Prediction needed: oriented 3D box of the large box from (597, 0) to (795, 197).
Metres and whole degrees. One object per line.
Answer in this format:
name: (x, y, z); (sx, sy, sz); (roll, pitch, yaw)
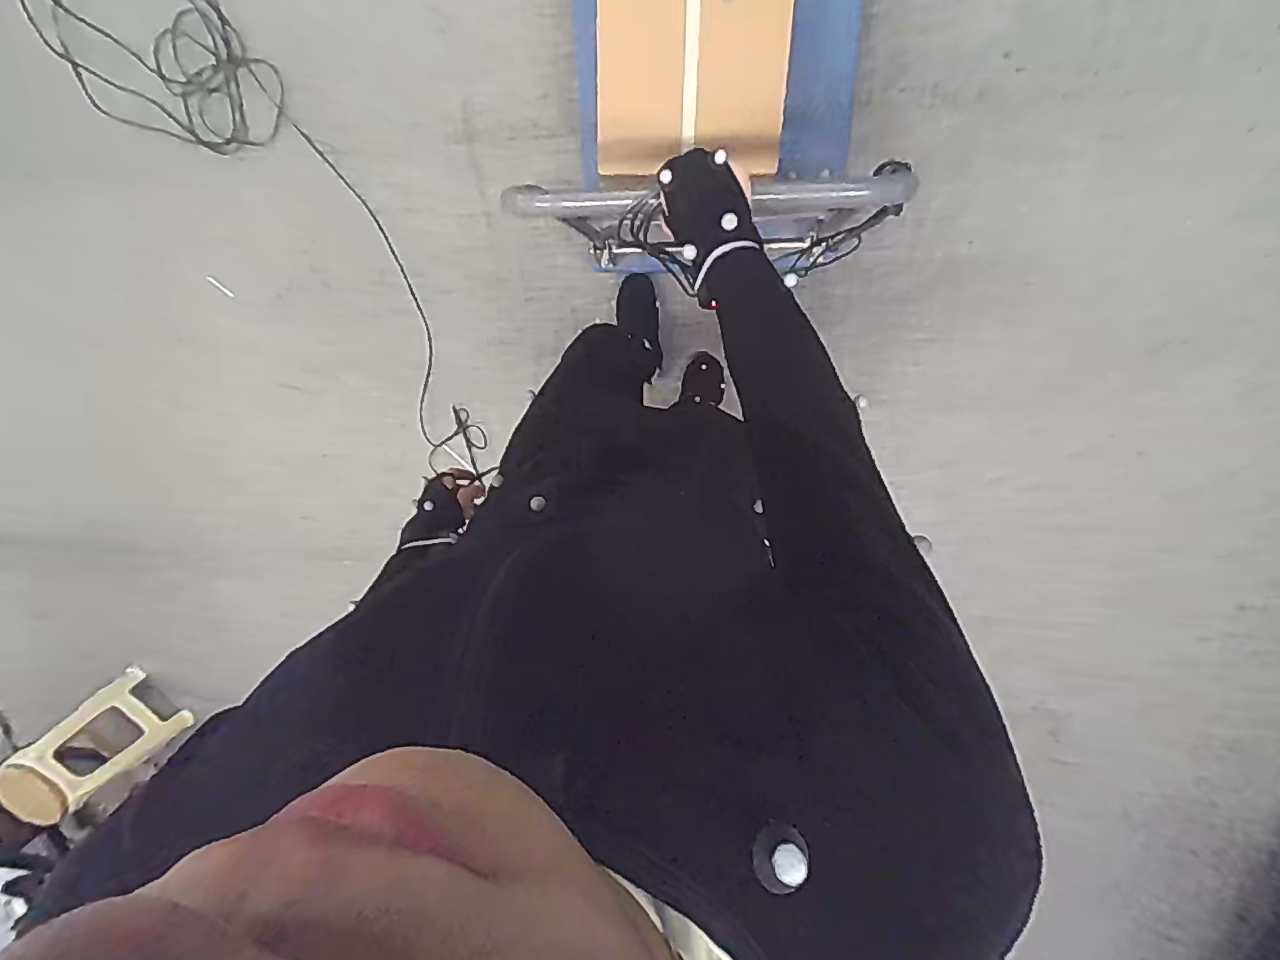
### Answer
large box: (0.106, -0.765, 0.991); (0.320, 0.320, 0.408); (4, 110, 7)
